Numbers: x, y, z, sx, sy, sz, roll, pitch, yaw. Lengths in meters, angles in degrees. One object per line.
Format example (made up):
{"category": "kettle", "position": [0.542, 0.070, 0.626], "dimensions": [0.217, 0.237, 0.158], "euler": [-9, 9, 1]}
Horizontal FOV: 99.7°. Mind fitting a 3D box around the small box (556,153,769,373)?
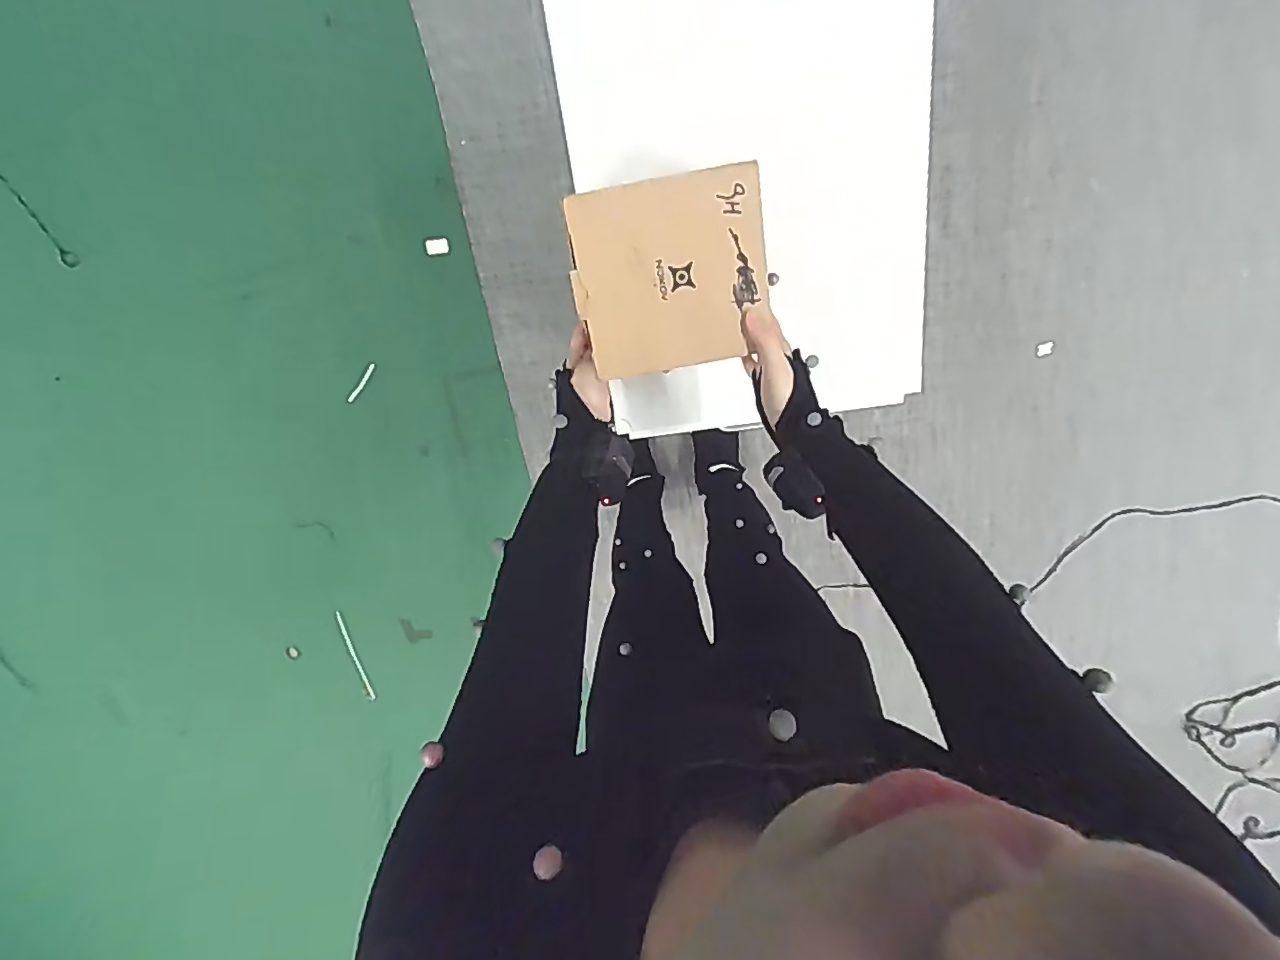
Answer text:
{"category": "small box", "position": [0.025, -0.217, 0.565], "dimensions": [0.179, 0.176, 0.168], "euler": [-9, 111, 3]}
